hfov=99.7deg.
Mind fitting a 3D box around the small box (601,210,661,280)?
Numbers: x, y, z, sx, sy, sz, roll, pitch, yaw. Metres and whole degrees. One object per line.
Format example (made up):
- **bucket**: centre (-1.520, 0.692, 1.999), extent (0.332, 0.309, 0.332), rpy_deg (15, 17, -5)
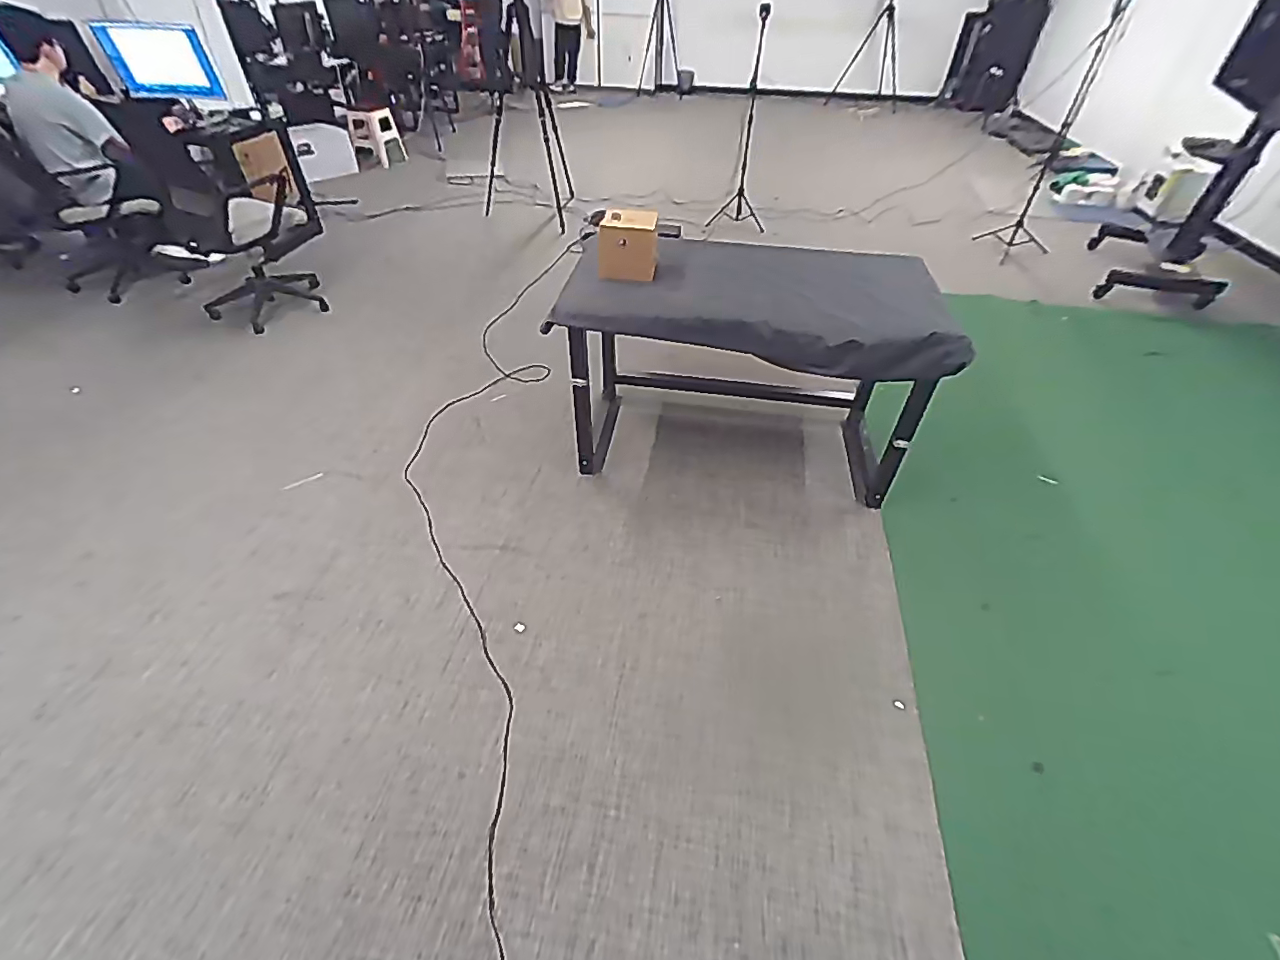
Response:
- **small box**: centre (-0.028, -0.778, 1.792), extent (0.179, 0.176, 0.168), rpy_deg (6, 44, 3)
